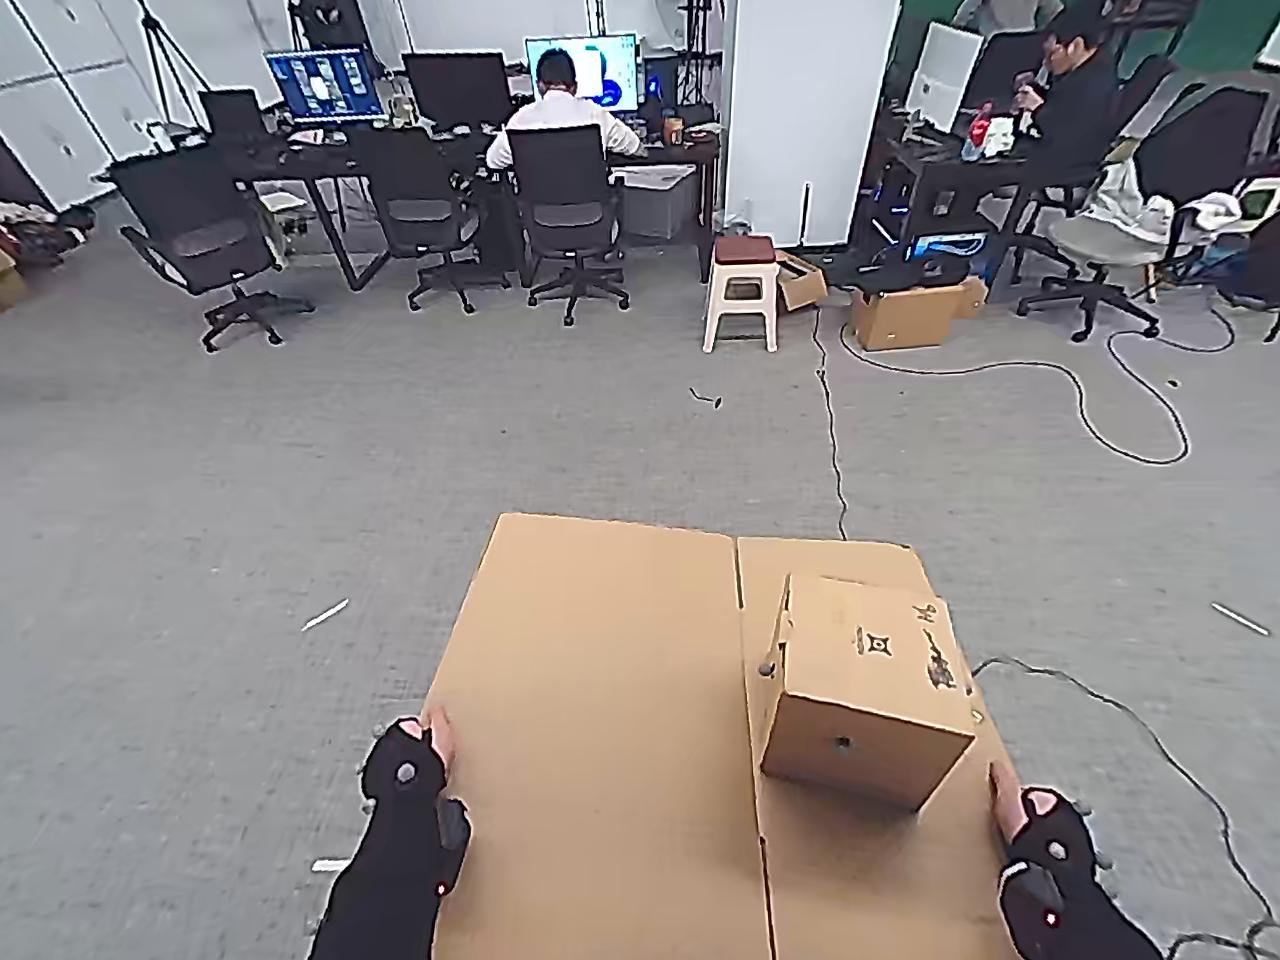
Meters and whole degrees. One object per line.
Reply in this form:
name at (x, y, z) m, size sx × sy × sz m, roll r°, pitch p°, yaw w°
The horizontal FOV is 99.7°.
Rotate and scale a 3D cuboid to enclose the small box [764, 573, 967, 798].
small box at (0.243, 0.236, 0.626) m, size 0.179 × 0.176 × 0.168 m, roll 8°, pitch 40°, yaw 12°
